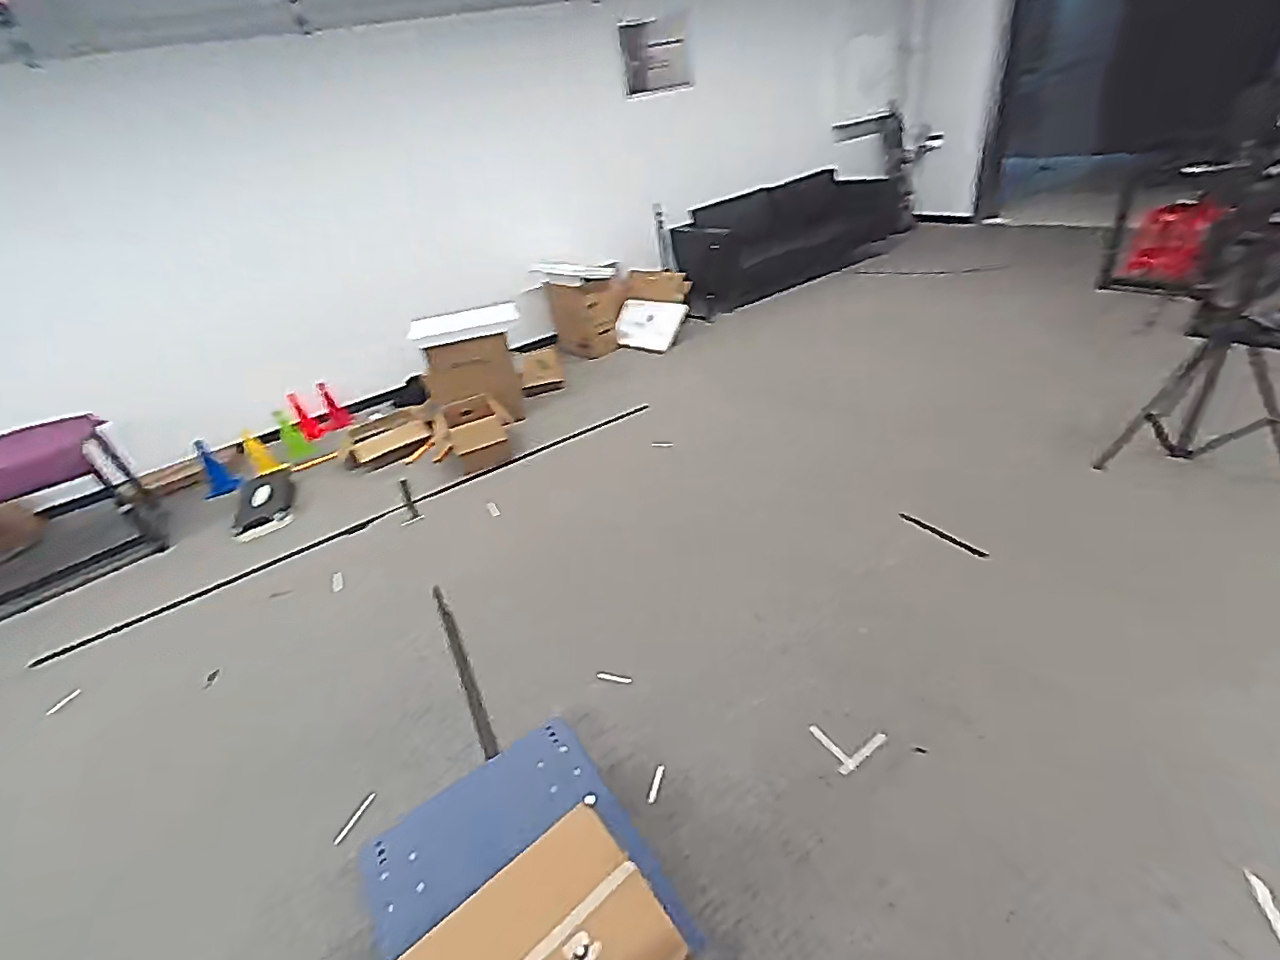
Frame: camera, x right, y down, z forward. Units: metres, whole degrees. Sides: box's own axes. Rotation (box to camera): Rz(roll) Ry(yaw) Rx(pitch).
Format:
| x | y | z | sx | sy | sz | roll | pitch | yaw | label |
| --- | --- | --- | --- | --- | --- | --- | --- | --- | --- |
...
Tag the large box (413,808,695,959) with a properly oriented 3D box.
| x | y | z | sx | sy | sz | roll | pitch | yaw | label |
| --- | --- | --- | --- | --- | --- | --- | --- | --- | --- |
| -0.136 | 0.901 | 0.934 | 0.408 | 0.320 | 0.320 | -29 | 36 | -27 | large box |
